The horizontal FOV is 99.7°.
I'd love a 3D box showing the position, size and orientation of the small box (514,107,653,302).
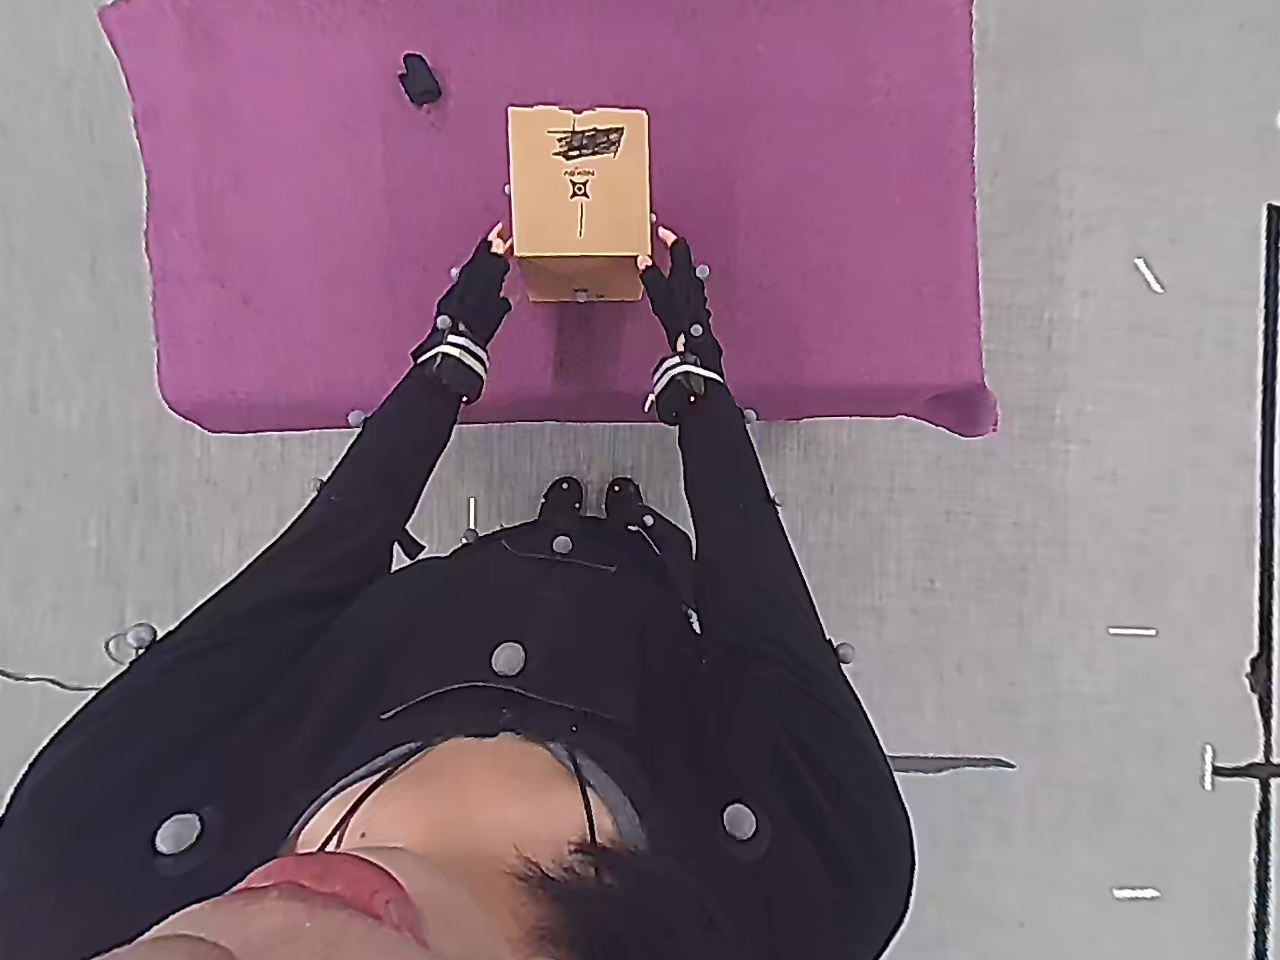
[{"bbox_3d":[-0.074,-0.353,0.720,0.168,0.176,0.179,-2,90,-4],"label":"small box"}]
